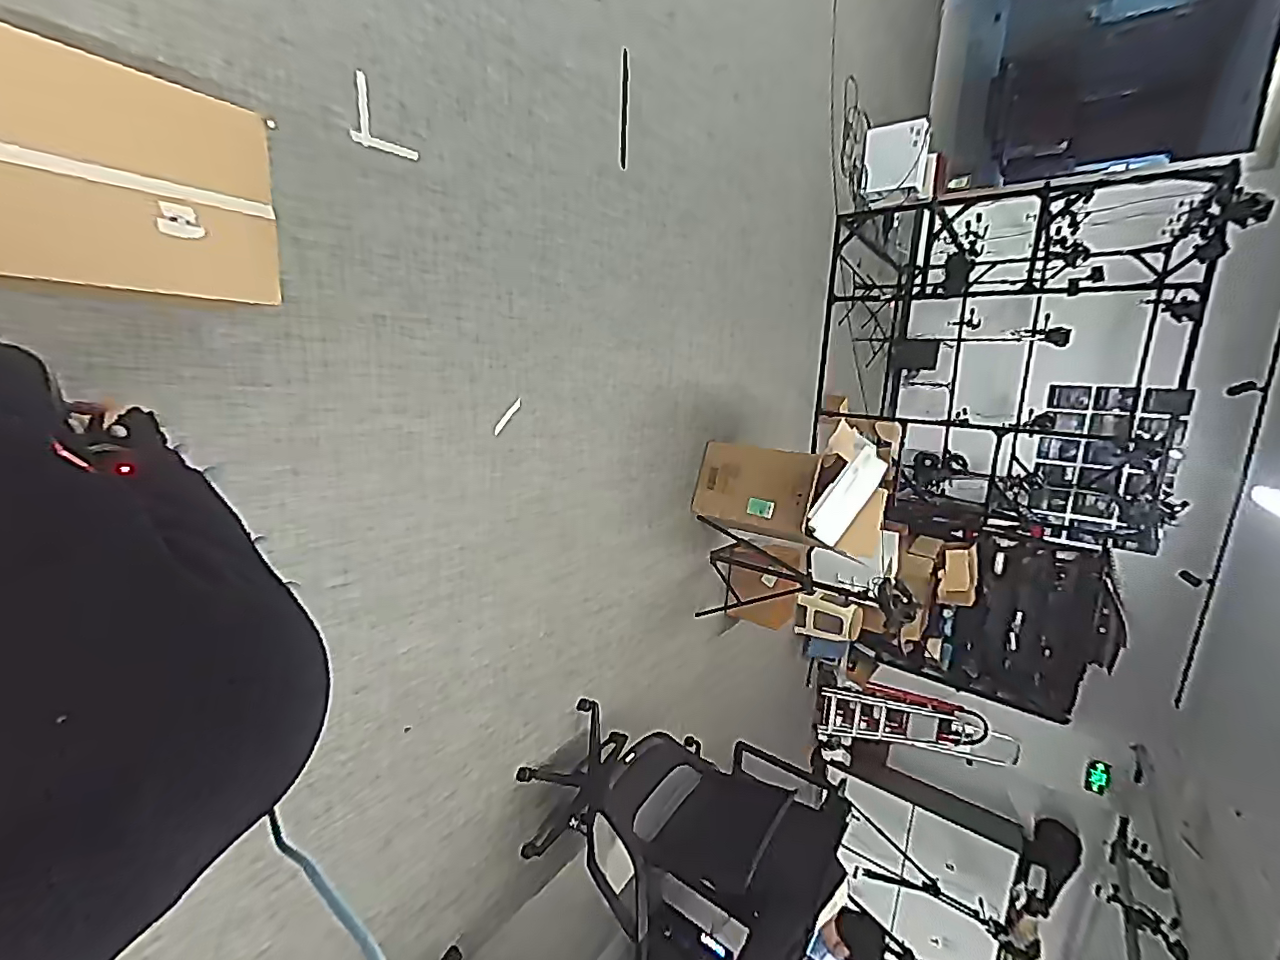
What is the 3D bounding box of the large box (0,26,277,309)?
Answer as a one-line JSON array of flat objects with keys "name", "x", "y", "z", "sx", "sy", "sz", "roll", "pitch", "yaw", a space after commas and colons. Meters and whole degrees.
[{"name": "large box", "x": -0.887, "y": -0.459, "z": 0.870, "sx": 0.408, "sy": 0.320, "sz": 0.320, "roll": -14, "pitch": 110, "yaw": -53}]
